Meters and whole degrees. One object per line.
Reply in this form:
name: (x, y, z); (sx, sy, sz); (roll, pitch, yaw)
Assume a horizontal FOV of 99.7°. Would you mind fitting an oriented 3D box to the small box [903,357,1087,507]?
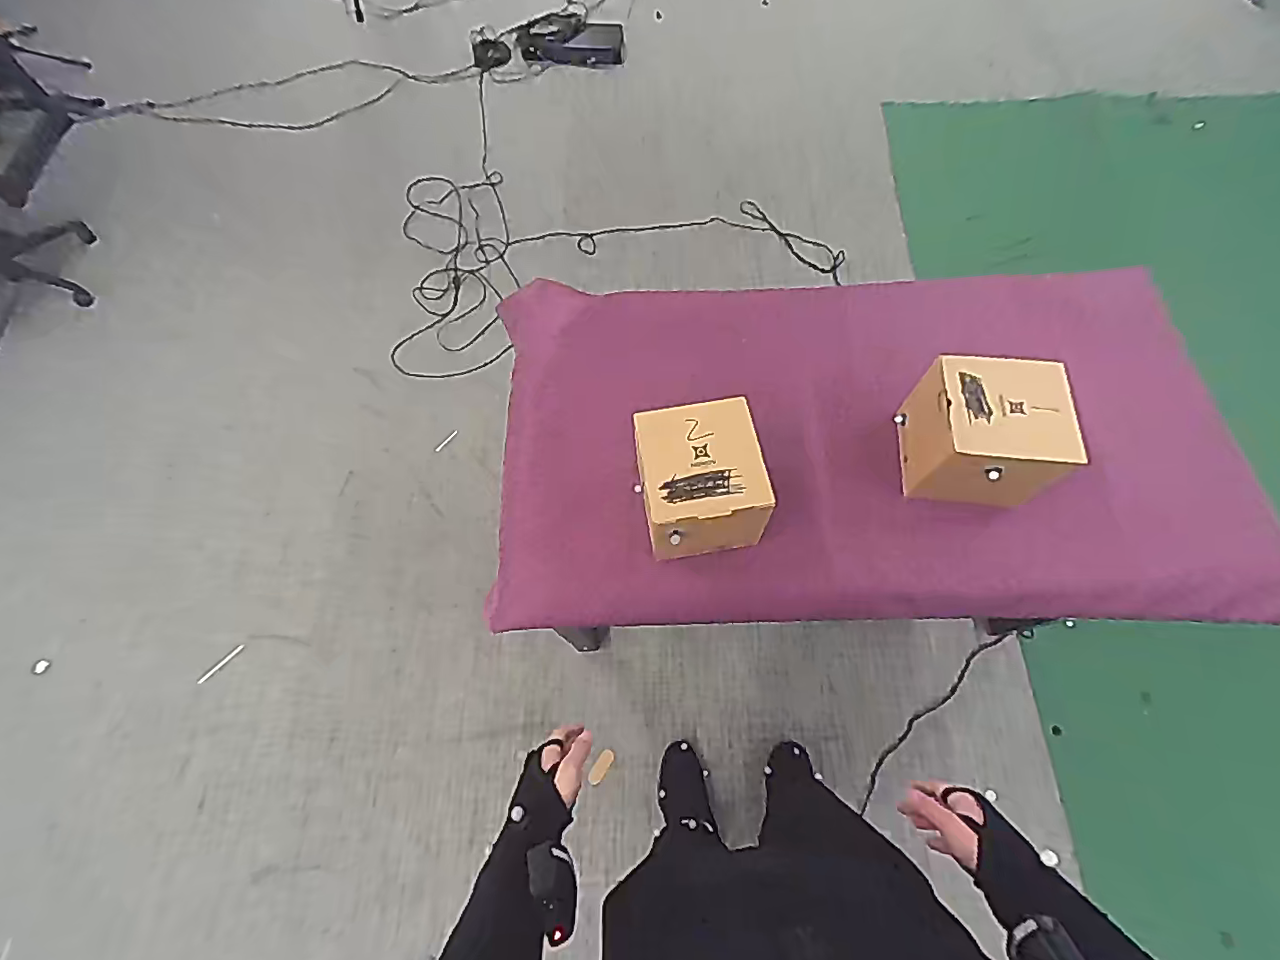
small box: (0.521, -0.067, 0.828); (0.179, 0.176, 0.168); (5, 67, 4)
